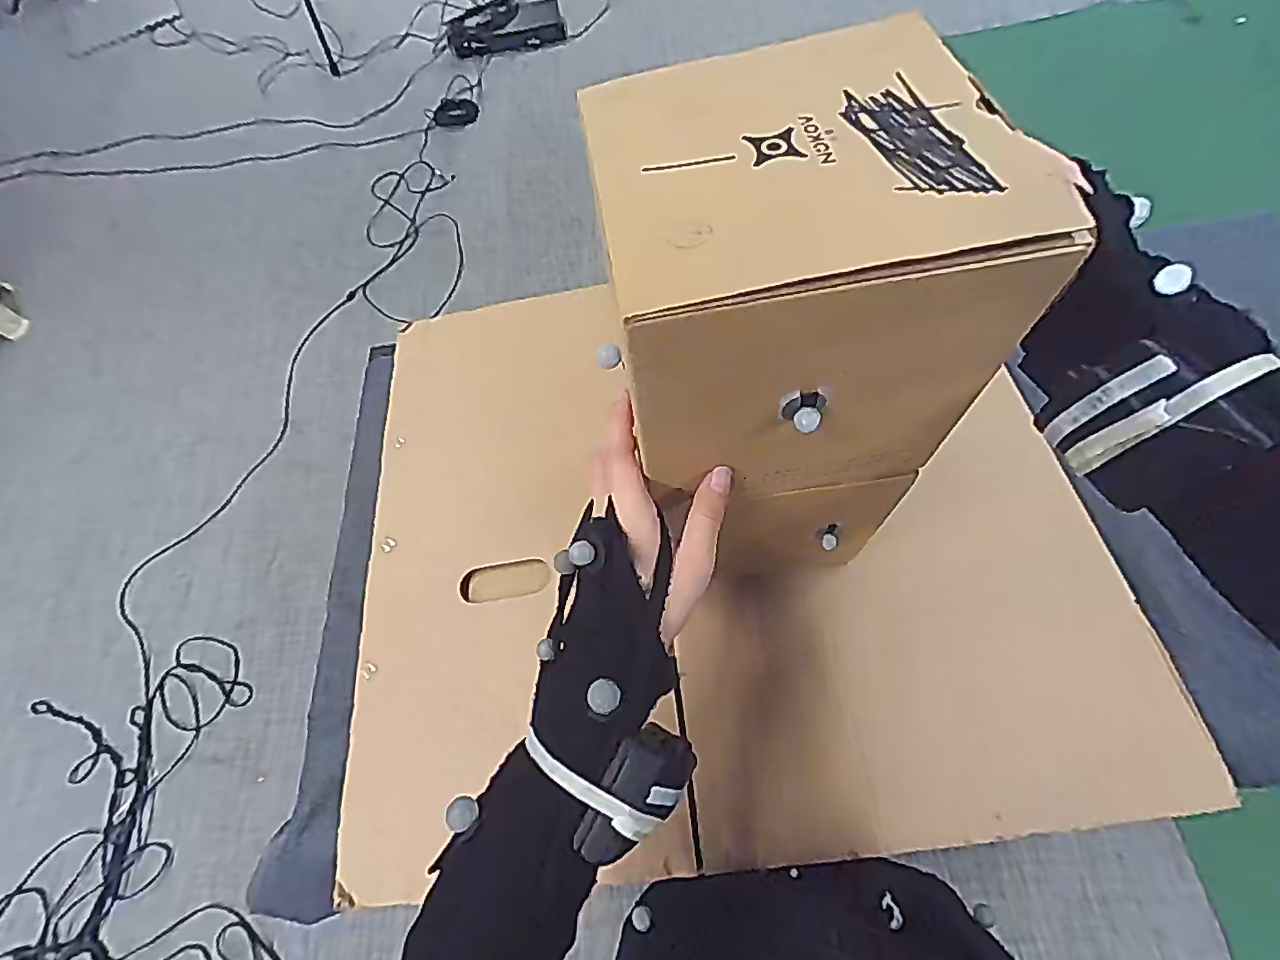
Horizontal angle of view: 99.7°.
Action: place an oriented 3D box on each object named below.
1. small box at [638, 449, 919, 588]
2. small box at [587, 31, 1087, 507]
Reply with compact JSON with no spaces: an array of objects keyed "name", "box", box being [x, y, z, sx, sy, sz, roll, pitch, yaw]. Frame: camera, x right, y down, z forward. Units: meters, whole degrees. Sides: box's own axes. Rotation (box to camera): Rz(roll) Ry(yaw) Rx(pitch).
[{"name":"small box","box":[0.089,-0.021,0.448,0.179,0.176,0.168,-9,61,2]},{"name":"small box","box":[0.075,-0.101,0.304,0.179,0.176,0.168,-10,61,1]}]
